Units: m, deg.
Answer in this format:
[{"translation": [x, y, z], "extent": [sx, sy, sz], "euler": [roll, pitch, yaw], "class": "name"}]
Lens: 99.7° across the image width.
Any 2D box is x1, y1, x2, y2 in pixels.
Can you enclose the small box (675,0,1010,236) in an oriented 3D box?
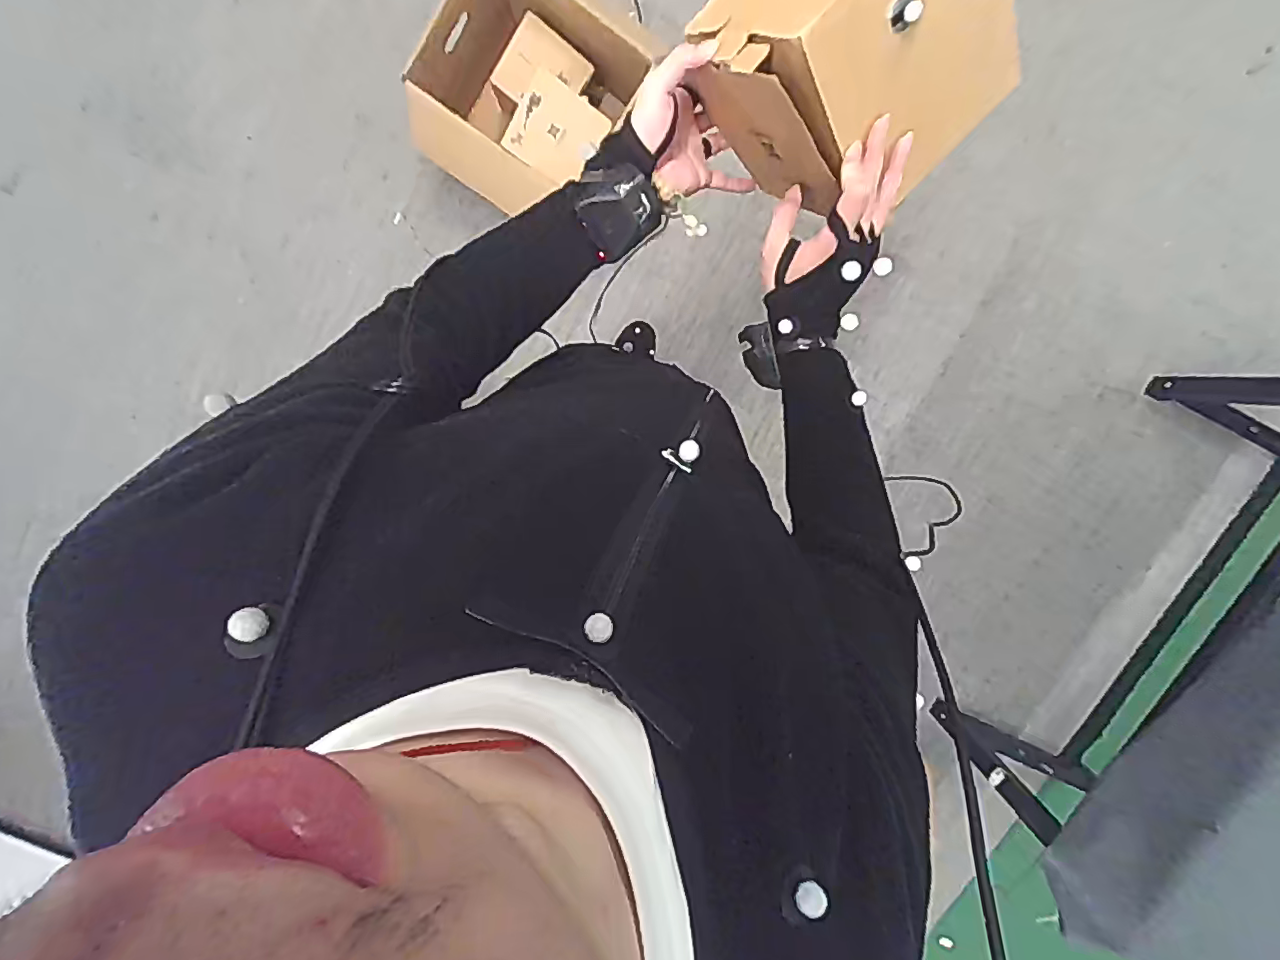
[{"translation": [0.168, -0.351, 0.453], "extent": [0.176, 0.168, 0.179], "euler": [-45, 135, 10], "class": "small box"}]
